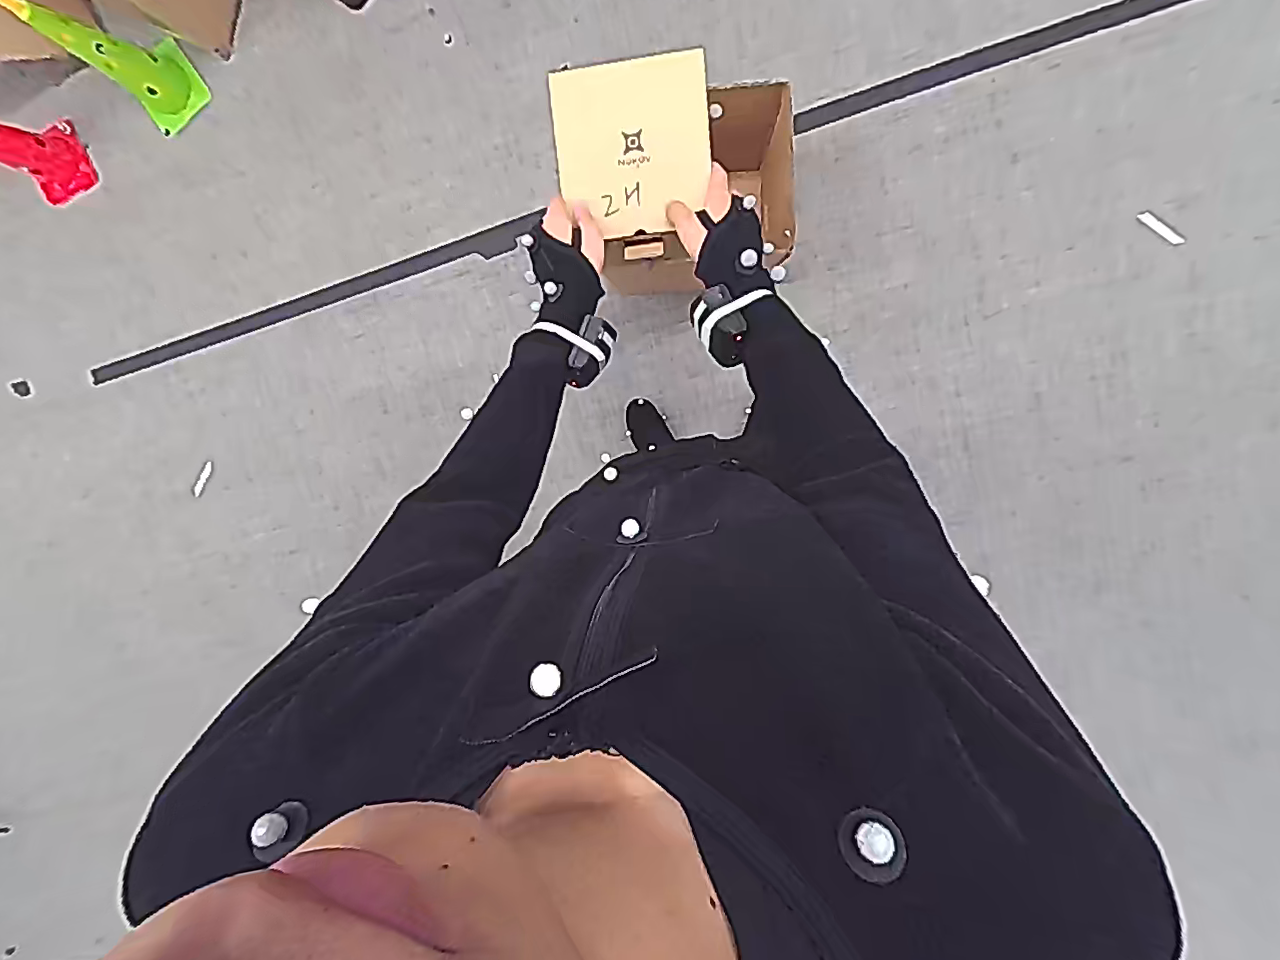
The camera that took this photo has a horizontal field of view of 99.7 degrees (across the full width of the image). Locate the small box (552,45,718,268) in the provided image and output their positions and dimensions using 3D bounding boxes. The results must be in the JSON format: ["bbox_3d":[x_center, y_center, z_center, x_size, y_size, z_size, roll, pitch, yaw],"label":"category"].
[{"bbox_3d":[0.002,-0.366,0.647,0.168,0.176,0.179,-4,103,7],"label":"small box"}]
